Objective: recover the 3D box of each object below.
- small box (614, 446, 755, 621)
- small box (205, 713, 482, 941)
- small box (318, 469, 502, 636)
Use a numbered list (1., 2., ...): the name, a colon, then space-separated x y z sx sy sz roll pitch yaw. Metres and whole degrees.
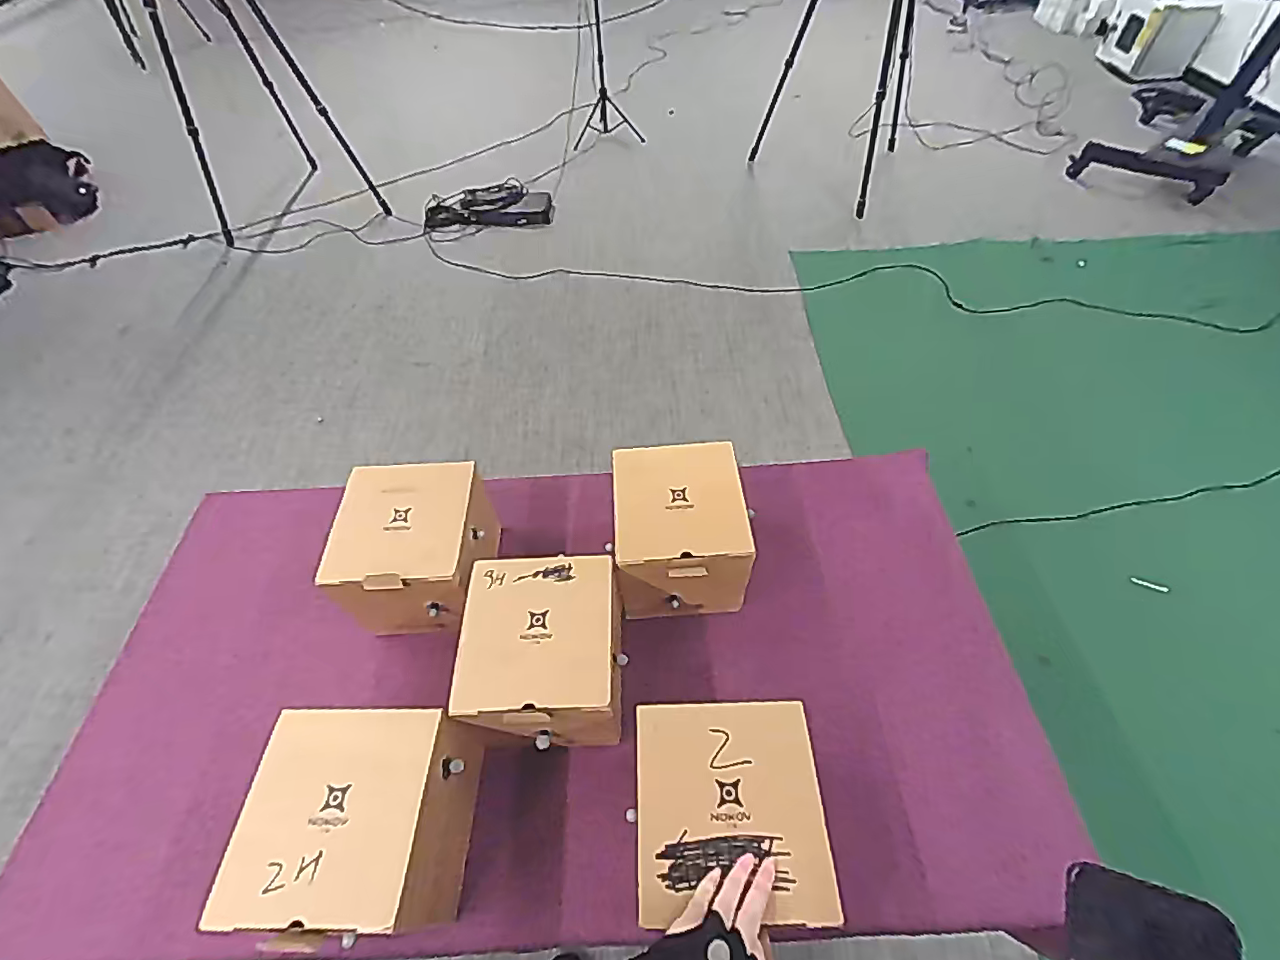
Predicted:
1. small box: 0.052 0.076 0.748 0.168 0.176 0.179 -5 54 0
2. small box: -0.273 0.354 0.554 0.168 0.176 0.179 -1 53 2
3. small box: -0.296 0.106 0.744 0.168 0.176 0.179 -3 53 0
